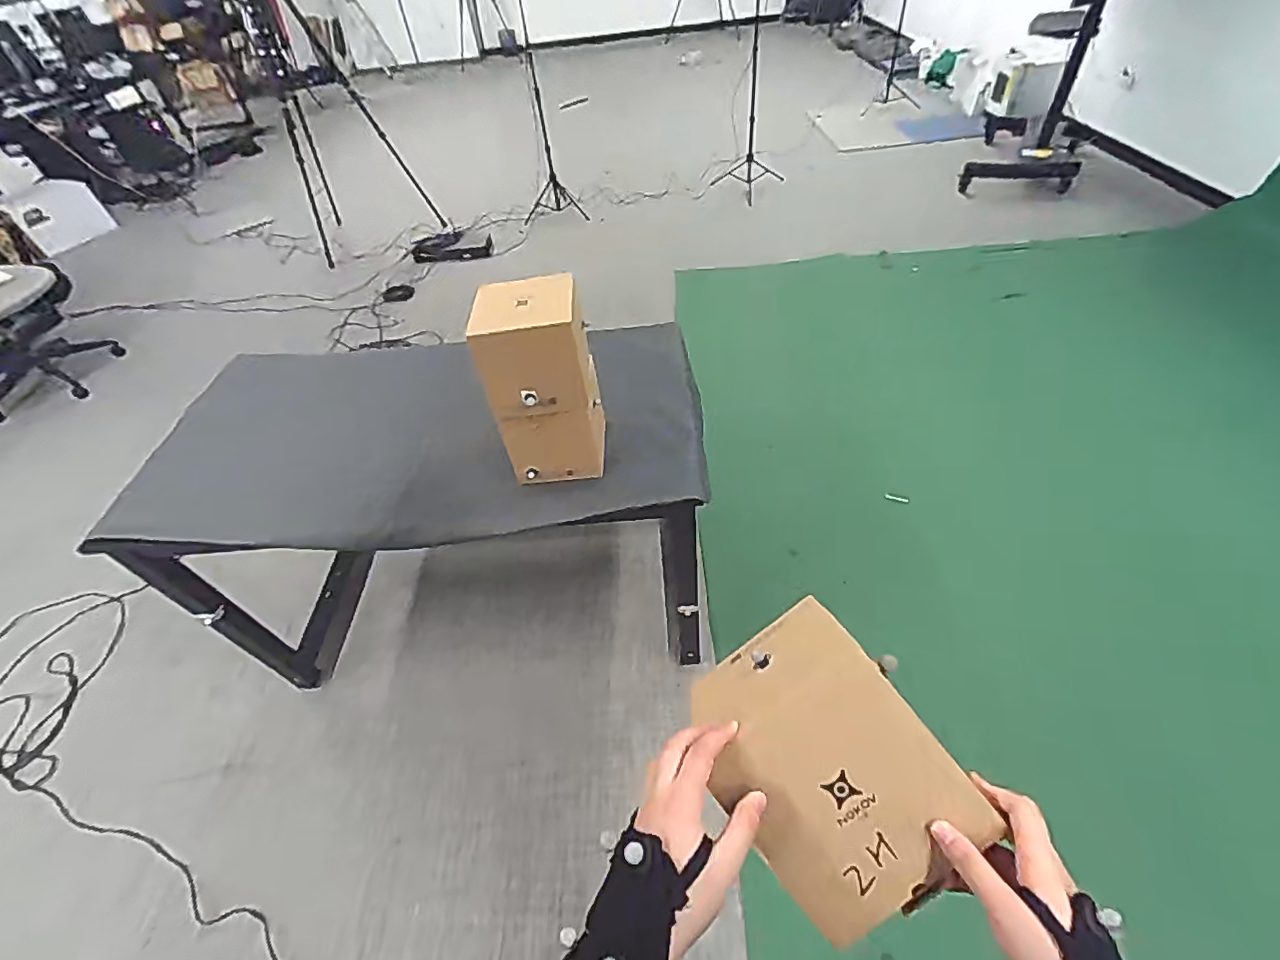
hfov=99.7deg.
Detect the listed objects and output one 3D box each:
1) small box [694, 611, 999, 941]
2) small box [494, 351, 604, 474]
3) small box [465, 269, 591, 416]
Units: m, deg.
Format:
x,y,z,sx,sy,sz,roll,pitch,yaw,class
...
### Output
x,y,z,sx,sy,sz,roll,pitch,yaw,class
0.163,0.241,0.496,0.168,0.176,0.179,-39,87,5,small box
-0.163,-0.123,1.039,0.168,0.176,0.179,-5,44,3,small box
-0.179,-0.233,0.920,0.168,0.176,0.179,-8,46,2,small box
